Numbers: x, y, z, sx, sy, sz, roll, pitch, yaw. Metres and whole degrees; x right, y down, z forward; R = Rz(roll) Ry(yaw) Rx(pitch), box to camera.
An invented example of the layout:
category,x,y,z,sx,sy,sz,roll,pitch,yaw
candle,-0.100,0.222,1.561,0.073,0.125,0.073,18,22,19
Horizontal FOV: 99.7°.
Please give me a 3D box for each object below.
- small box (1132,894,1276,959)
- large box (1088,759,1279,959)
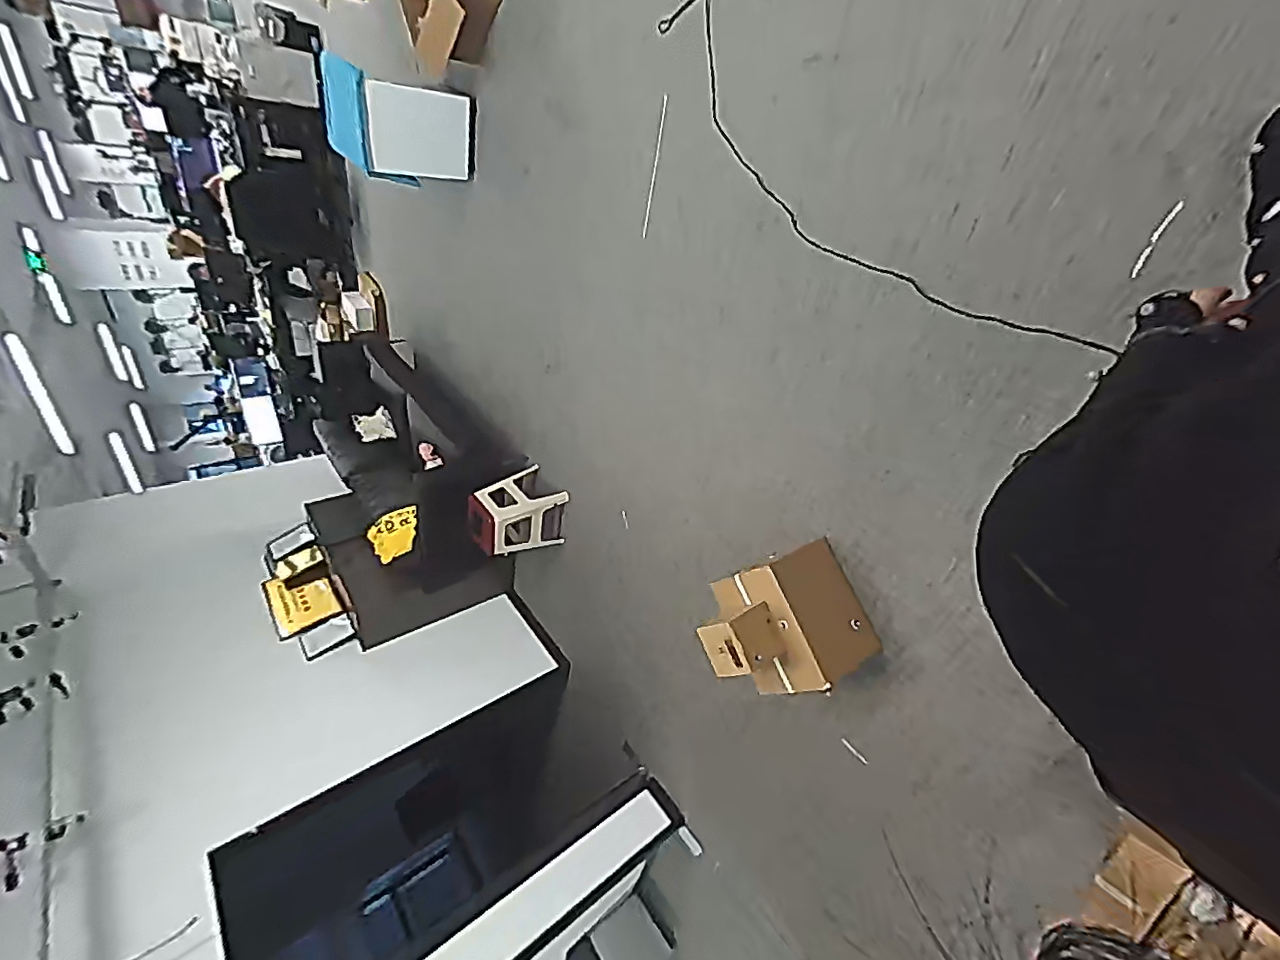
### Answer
category,x,y,z,sx,sy,sz,roll,pitch,yaw
small box,1.015,0.907,0.970,0.168,0.176,0.179,28,125,44
large box,1.229,0.874,1.090,0.408,0.320,0.320,26,124,44
